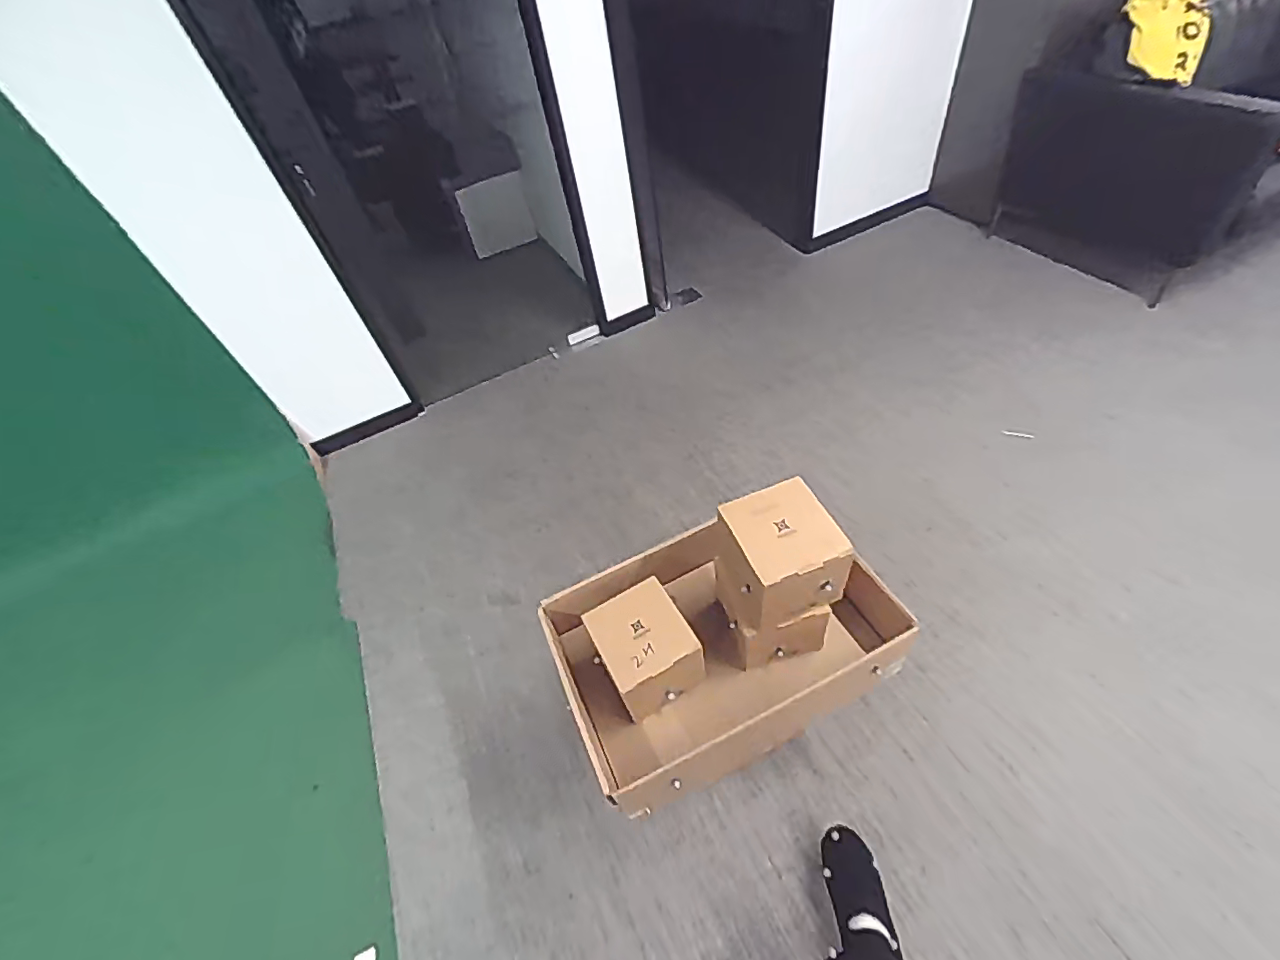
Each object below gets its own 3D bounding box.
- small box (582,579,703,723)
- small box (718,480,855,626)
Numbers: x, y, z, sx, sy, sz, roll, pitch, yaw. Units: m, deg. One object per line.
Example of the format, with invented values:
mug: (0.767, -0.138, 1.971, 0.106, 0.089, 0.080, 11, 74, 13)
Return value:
small box: (0.008, 0.331, 1.044, 0.168, 0.176, 0.179, -26, 50, -12)
small box: (0.249, 0.136, 0.955, 0.168, 0.176, 0.179, -19, 49, -7)
